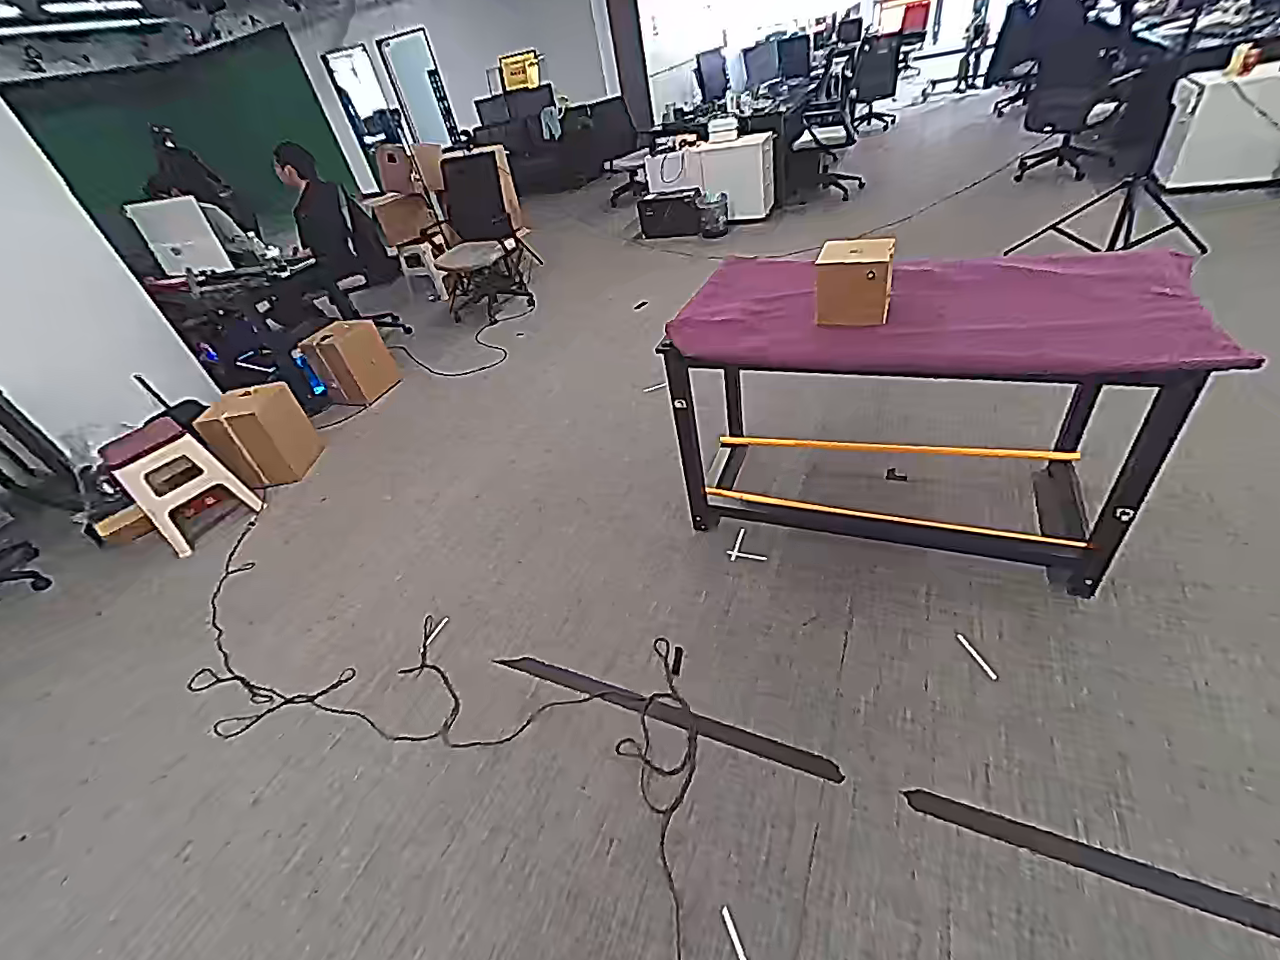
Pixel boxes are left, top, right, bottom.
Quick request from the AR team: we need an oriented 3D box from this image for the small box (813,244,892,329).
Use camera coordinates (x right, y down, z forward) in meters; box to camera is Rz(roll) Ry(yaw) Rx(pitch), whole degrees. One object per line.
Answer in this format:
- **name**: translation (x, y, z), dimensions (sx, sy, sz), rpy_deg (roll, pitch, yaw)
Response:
- **small box**: translation (0.564, -0.515, 1.443), dimensions (0.179, 0.176, 0.168), rpy_deg (9, 43, 24)
